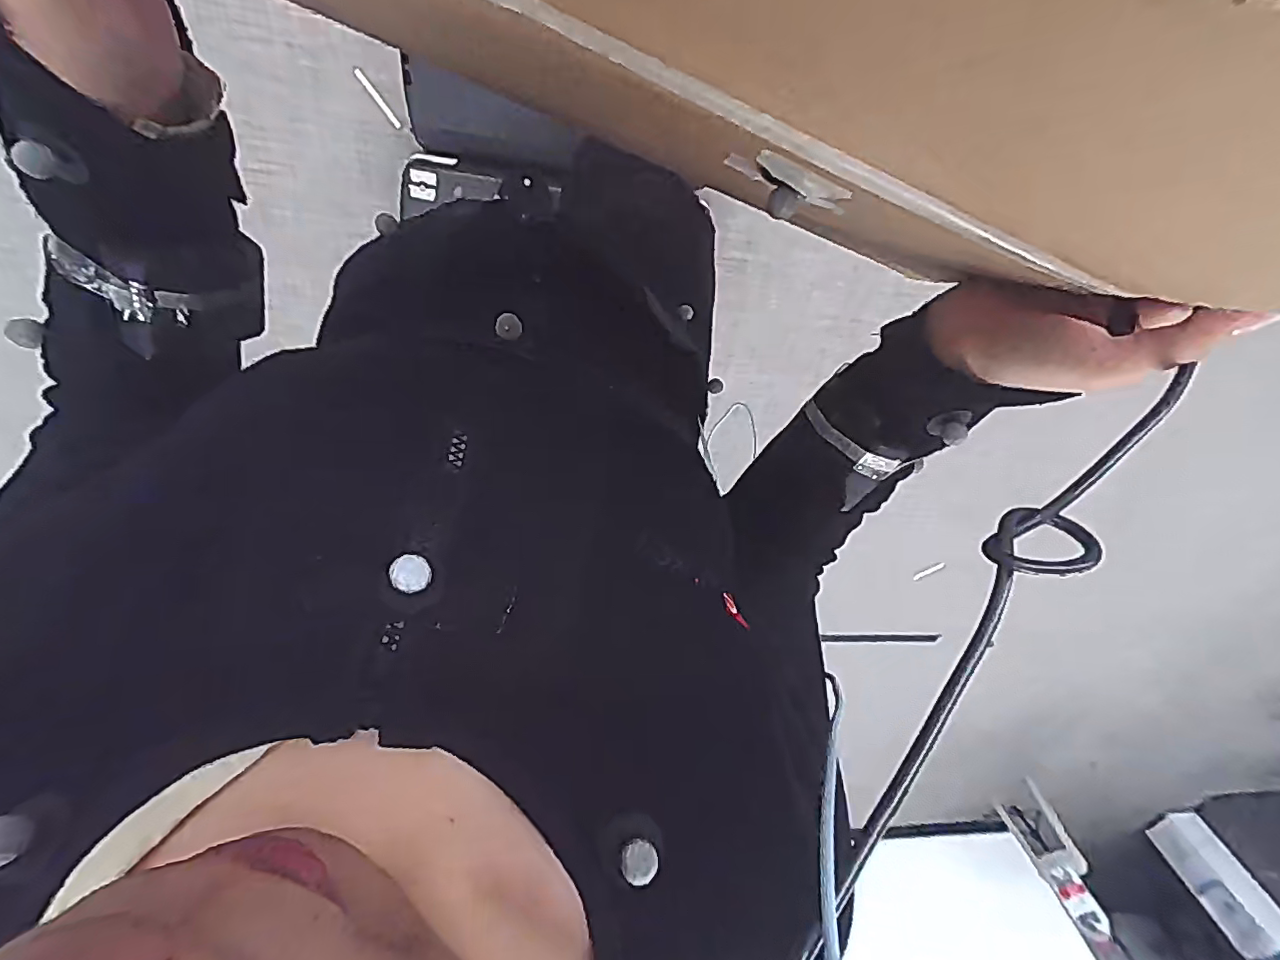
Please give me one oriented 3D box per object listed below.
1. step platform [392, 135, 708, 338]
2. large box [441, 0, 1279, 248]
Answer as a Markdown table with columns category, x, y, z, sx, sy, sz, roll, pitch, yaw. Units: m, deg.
| category | x | y | z | sx | sy | sz | roll | pitch | yaw |
| --- | --- | --- | --- | --- | --- | --- | --- | --- | --- |
| step platform | -0.193 | -0.540 | 1.236 | 0.684 | 0.204 | 0.286 | 9 | 123 | -12 |
| large box | 0.074 | -0.271 | 0.088 | 0.408 | 0.320 | 0.320 | 16 | 111 | -13 |
